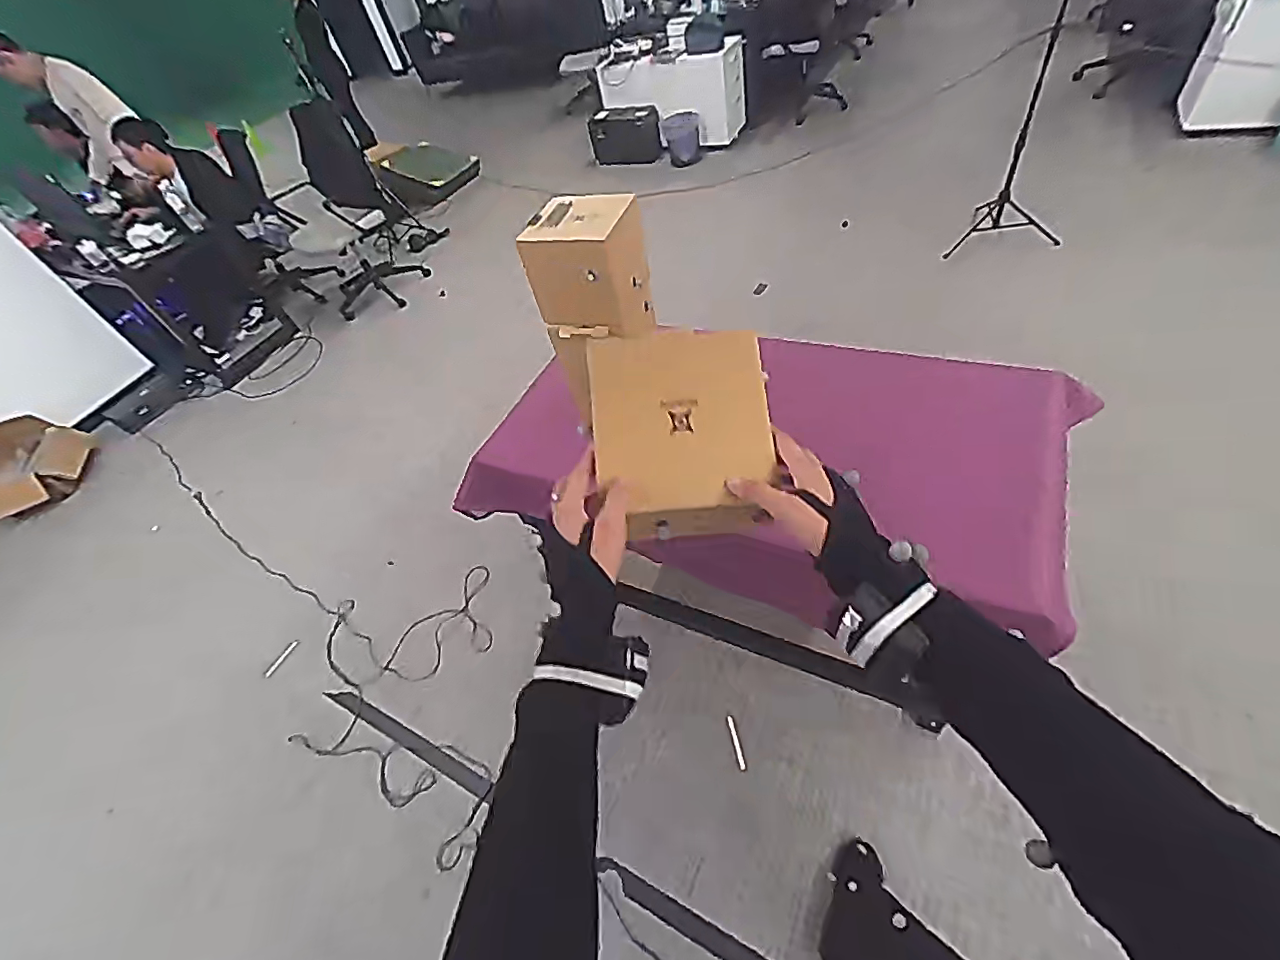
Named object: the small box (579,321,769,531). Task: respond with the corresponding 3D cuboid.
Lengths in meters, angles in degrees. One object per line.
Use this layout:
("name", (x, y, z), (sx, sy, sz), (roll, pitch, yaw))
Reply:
("small box", (0.029, -0.044, 0.578), (0.168, 0.176, 0.179), (-5, 74, -2))

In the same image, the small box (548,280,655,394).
("small box", (-0.067, -0.297, 1.137), (0.168, 0.176, 0.179), (4, 52, 19))
